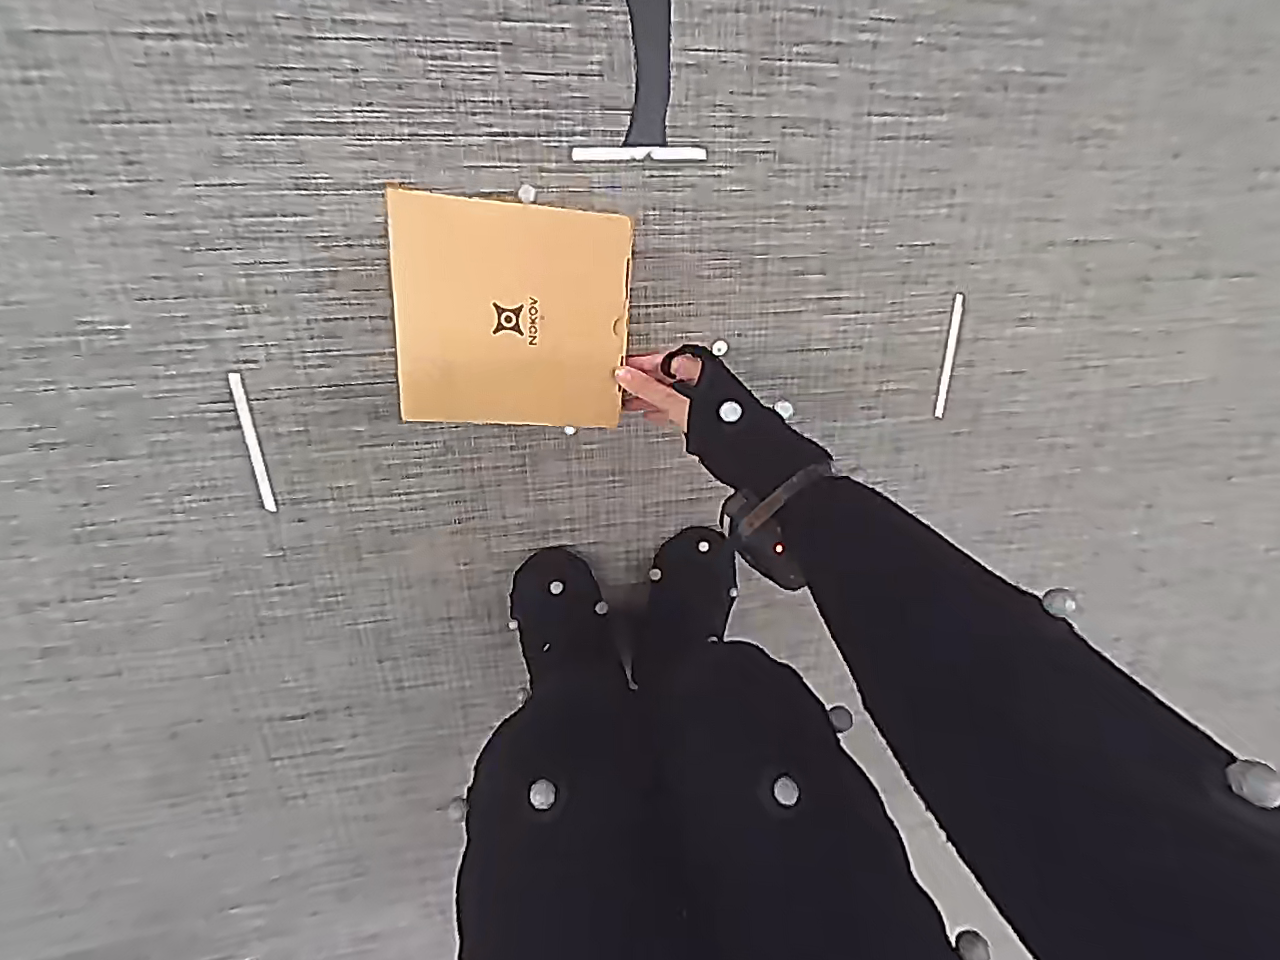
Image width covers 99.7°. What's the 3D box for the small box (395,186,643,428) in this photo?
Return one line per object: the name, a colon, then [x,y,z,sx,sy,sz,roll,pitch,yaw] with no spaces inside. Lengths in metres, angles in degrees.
small box: [-0.103,-0.148,0.483,0.179,0.176,0.168,0,110,-12]
